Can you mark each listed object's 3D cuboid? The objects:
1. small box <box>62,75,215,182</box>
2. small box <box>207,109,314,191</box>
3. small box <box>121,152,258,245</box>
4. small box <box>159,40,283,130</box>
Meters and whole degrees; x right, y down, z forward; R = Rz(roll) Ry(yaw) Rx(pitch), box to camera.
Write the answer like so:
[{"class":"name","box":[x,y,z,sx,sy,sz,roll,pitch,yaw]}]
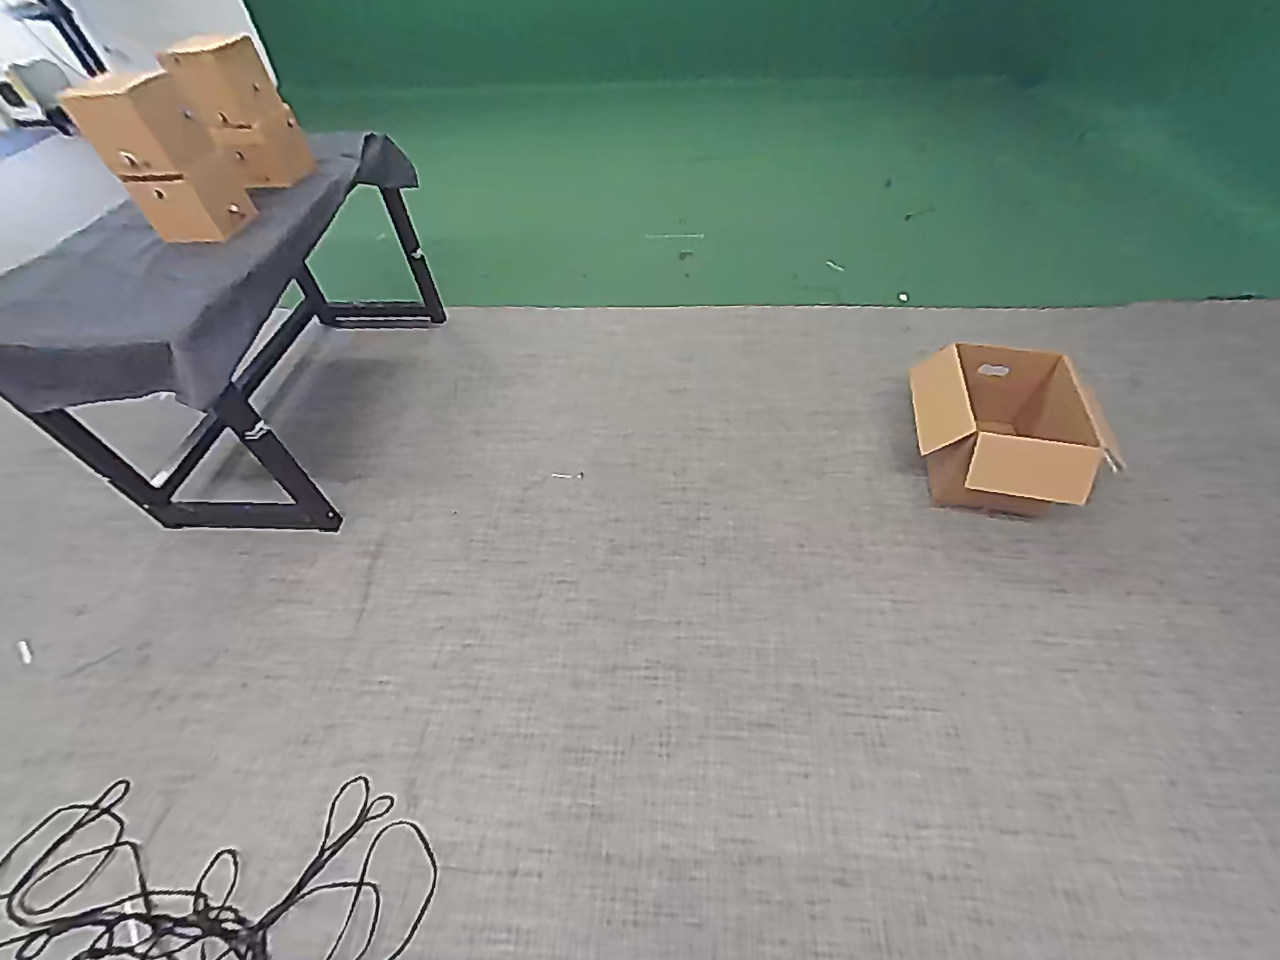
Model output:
[{"class":"small box","box":[-1.162,-0.827,1.276,0.168,0.176,0.179,-1,51,4]},{"class":"small box","box":[-1.124,-0.985,1.620,0.168,0.176,0.179,2,50,6]},{"class":"small box","box":[-1.155,-0.728,1.404,0.179,0.176,0.168,1,51,4]},{"class":"small box","box":[-1.147,-1.090,1.490,0.168,0.176,0.179,5,51,8]}]
